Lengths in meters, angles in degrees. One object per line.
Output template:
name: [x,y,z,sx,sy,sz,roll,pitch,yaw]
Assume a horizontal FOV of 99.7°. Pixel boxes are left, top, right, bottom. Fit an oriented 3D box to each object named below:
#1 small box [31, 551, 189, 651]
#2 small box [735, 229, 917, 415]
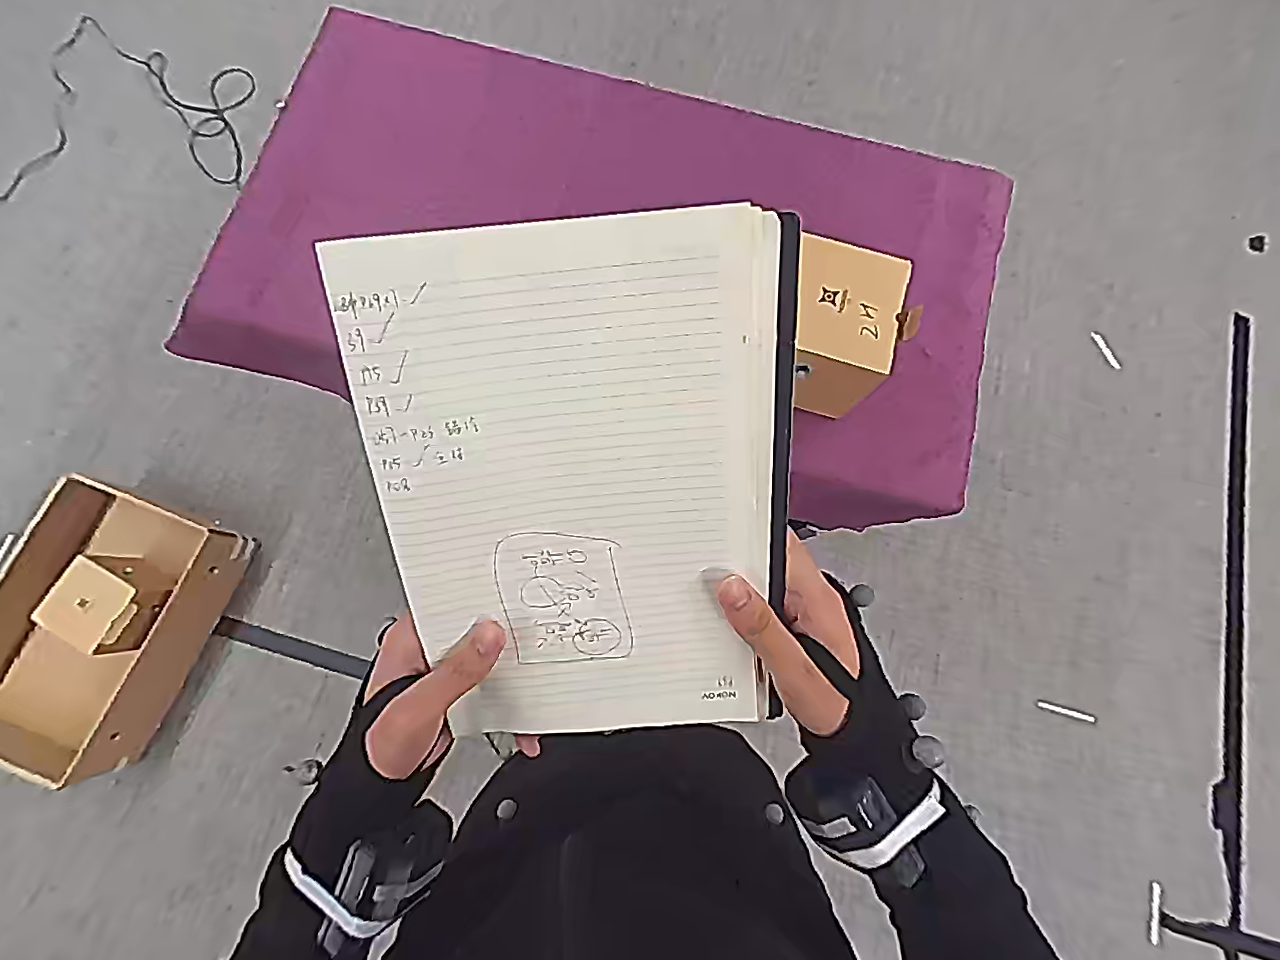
small box: [-1.256,0.286,1.300,0.179,0.176,0.168,30,79,4]
small box: [0.245,-0.207,0.753,0.179,0.176,0.168,17,78,2]
